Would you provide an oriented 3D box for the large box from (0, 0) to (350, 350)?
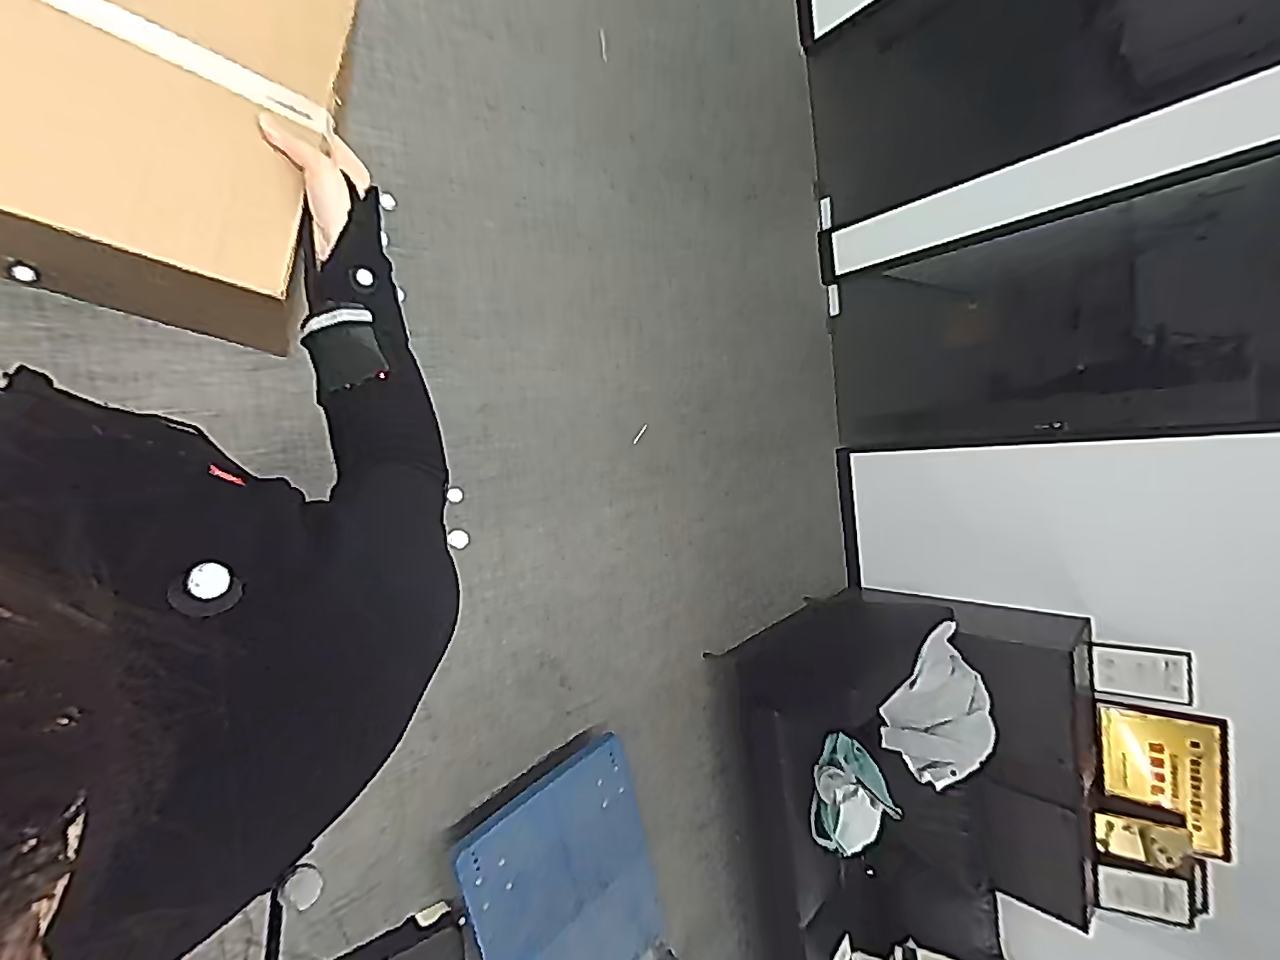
[{"bbox_3d":[-0.526,-0.350,0.506,0.408,0.320,0.320,15,84,-30],"label":"large box"}]
